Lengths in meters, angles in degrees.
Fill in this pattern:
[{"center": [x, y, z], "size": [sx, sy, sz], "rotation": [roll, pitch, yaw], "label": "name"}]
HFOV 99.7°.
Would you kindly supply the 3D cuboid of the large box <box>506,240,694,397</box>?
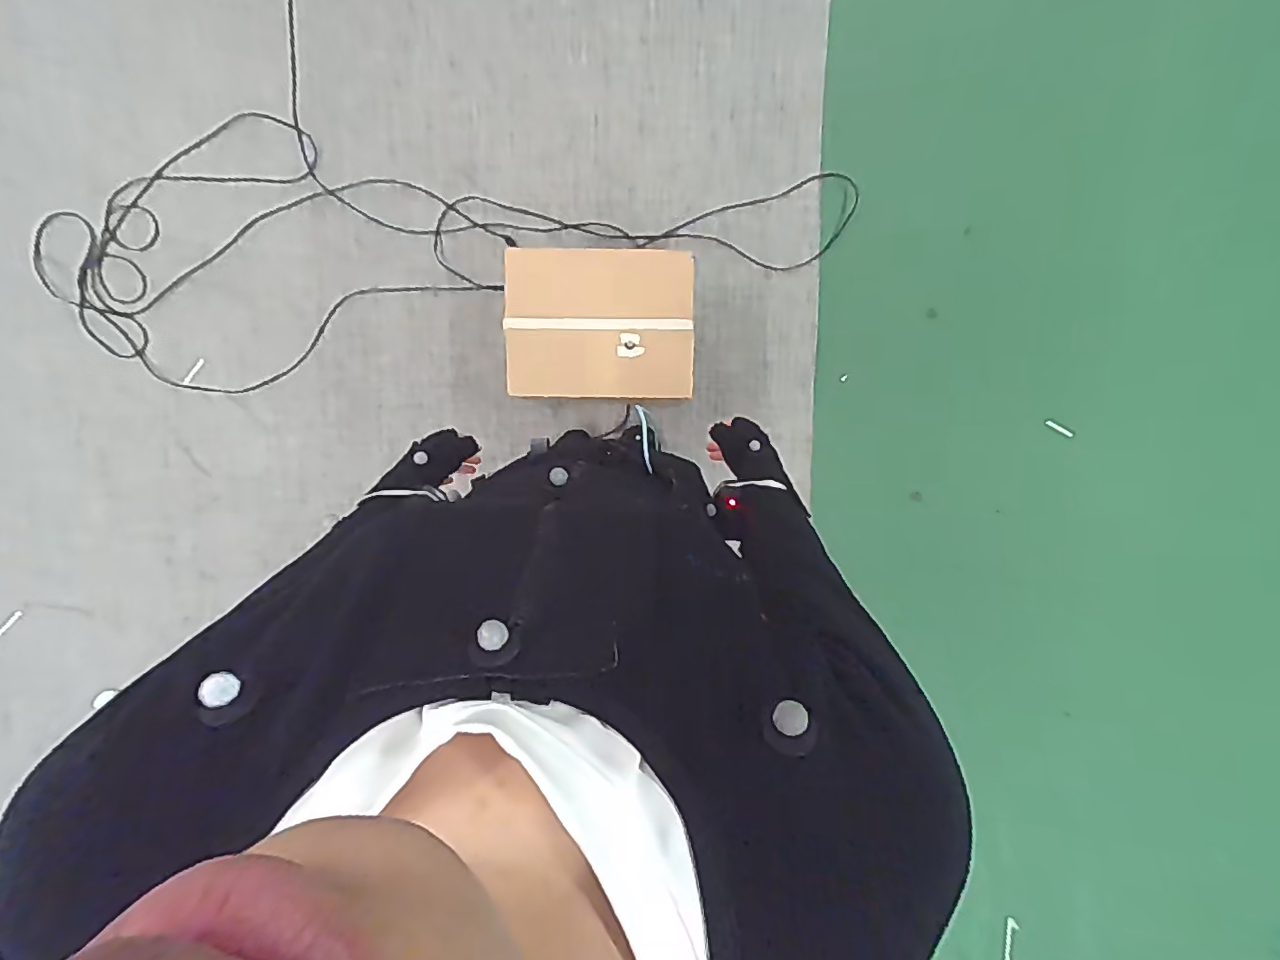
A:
[{"center": [-0.089, -0.365, 1.300], "size": [0.408, 0.320, 0.320], "rotation": [0, 97, -1], "label": "large box"}]
